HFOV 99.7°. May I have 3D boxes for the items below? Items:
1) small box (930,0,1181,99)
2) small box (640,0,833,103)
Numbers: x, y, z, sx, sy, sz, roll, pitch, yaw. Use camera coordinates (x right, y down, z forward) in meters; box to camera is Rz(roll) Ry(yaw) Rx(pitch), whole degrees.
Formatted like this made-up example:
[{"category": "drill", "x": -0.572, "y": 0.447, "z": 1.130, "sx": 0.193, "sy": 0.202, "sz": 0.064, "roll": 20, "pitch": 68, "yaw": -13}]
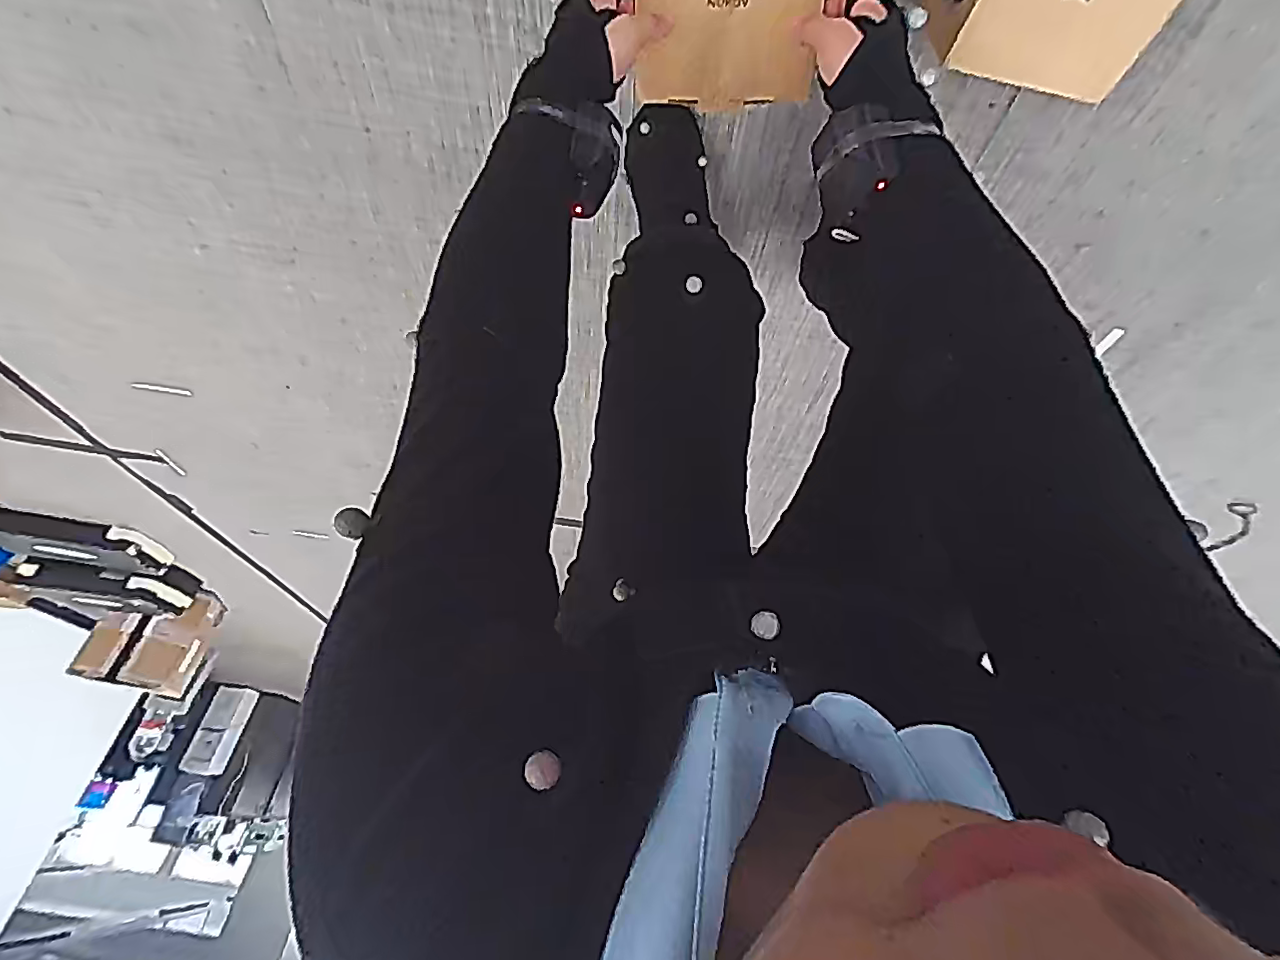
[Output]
[{"category": "small box", "x": 0.392, "y": -0.496, "z": 0.492, "sx": 0.168, "sy": 0.176, "sz": 0.179, "roll": 10, "pitch": 146, "yaw": -4}, {"category": "small box", "x": 0.093, "y": -0.474, "z": 0.506, "sx": 0.168, "sy": 0.176, "sz": 0.179, "roll": 6, "pitch": 136, "yaw": 9}]
